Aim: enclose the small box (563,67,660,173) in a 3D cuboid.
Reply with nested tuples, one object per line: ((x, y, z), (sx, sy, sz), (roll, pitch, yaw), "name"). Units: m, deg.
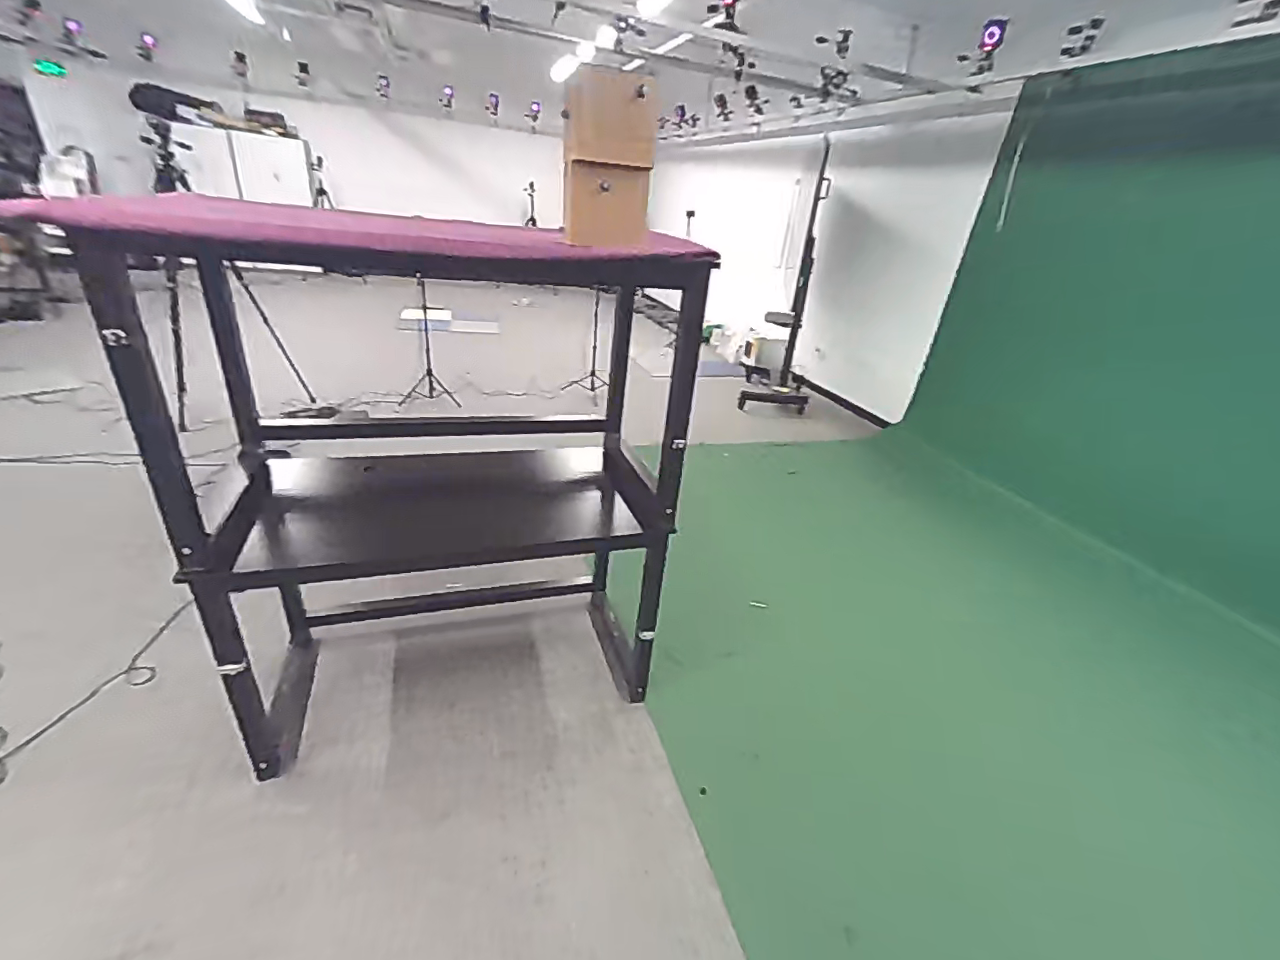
((-0.068, -0.762, 1.171), (0.179, 0.176, 0.168), (-3, 27, -18), "small box")

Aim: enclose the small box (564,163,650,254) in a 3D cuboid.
((-0.084, -0.623, 1.255), (0.179, 0.176, 0.168), (-1, 26, -14), "small box")
